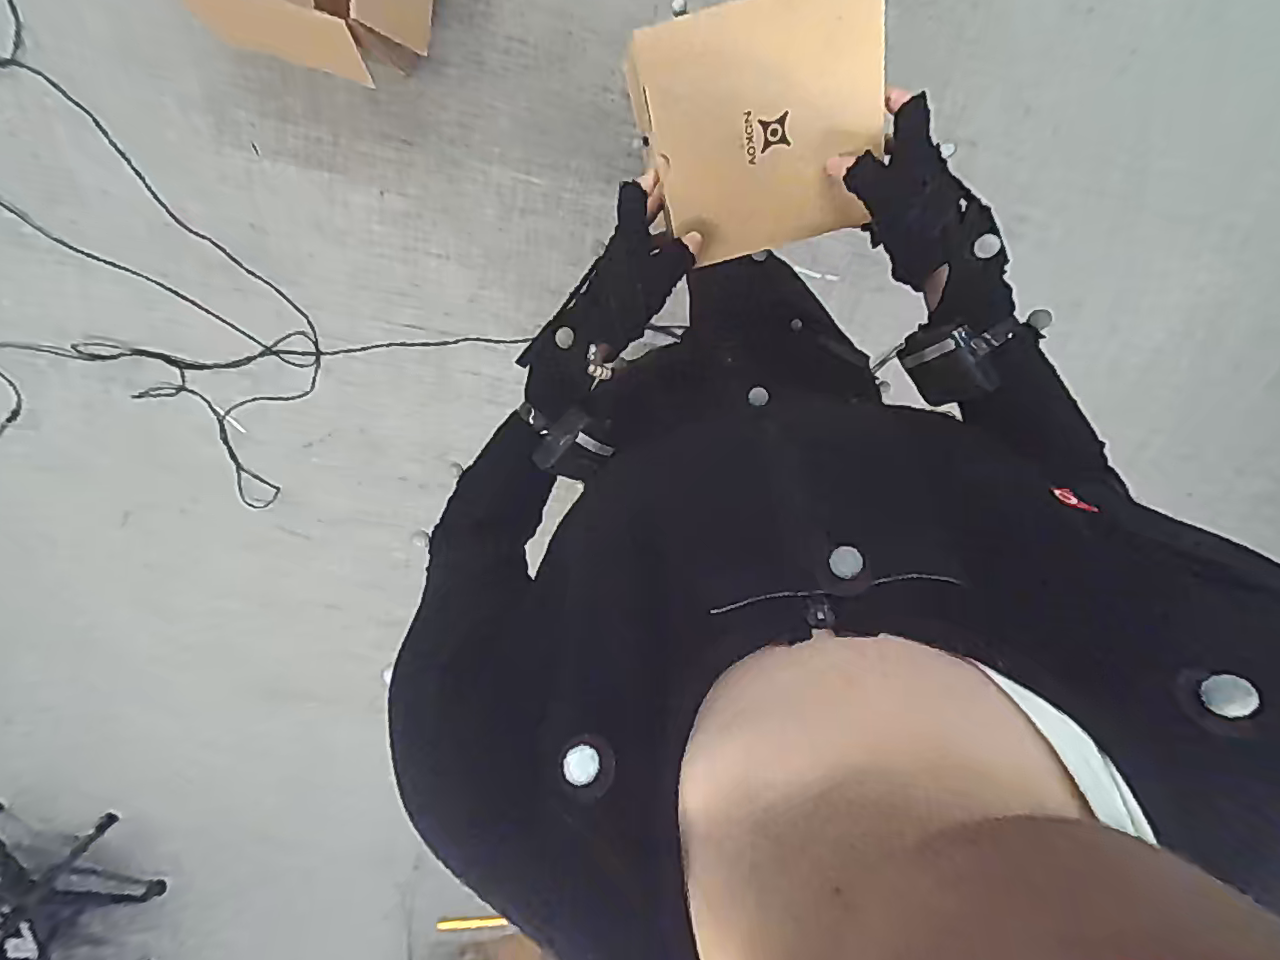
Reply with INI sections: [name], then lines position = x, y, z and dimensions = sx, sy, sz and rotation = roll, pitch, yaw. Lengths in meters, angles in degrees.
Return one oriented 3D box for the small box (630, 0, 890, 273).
[small box]
position = 0.095, -0.303, 0.469
dimensions = 0.179, 0.176, 0.168
rotation = -13, 123, 7
